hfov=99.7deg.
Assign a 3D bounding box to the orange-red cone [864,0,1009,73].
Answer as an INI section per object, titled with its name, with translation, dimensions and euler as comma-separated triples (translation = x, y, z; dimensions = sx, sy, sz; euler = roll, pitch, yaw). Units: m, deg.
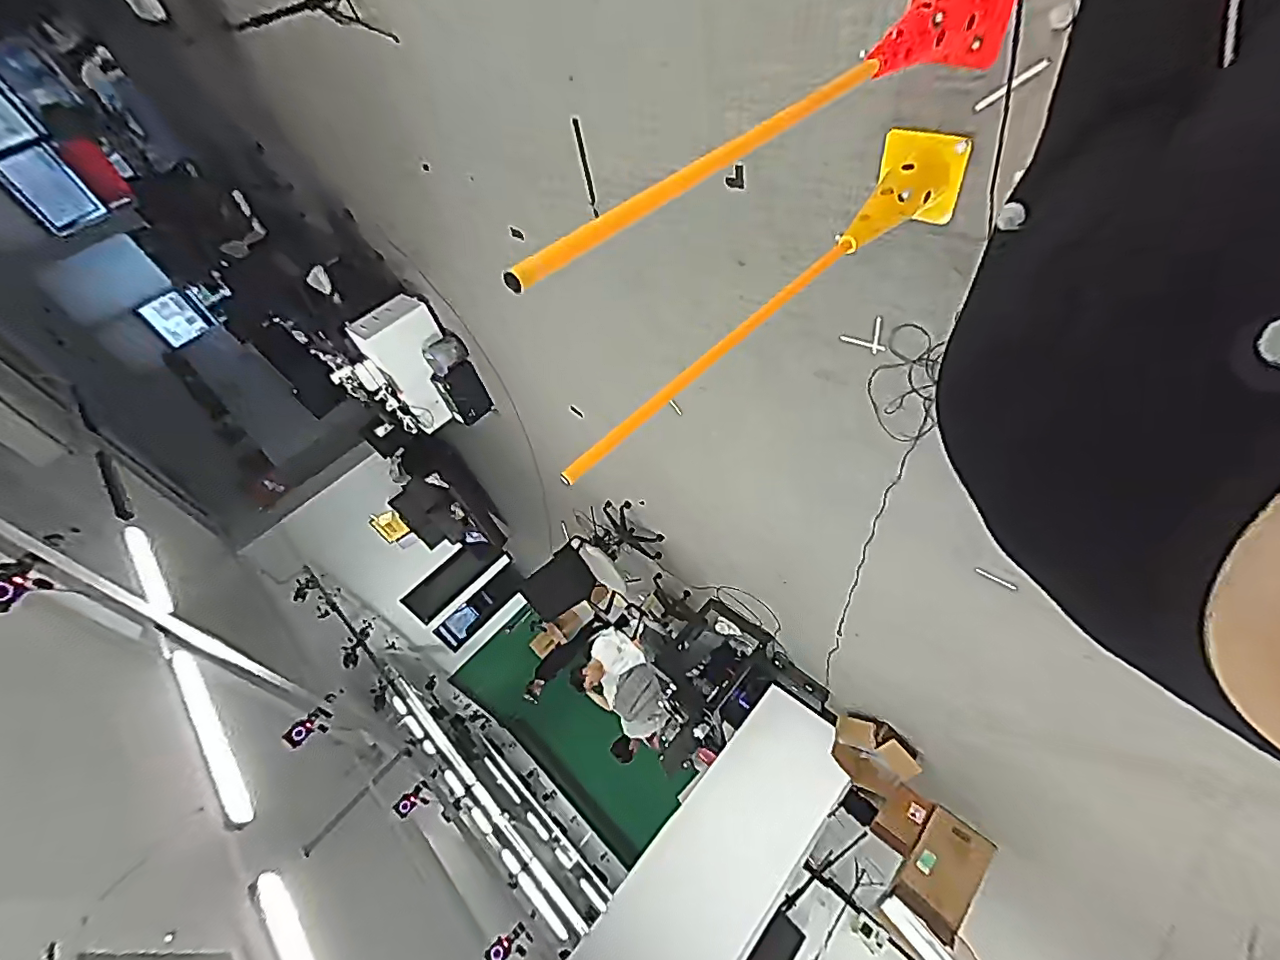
[orange-red cone]
translation = 0.520, -0.844, 1.010
dimensions = 0.198, 0.360, 0.199
euler = 33, 153, 26
